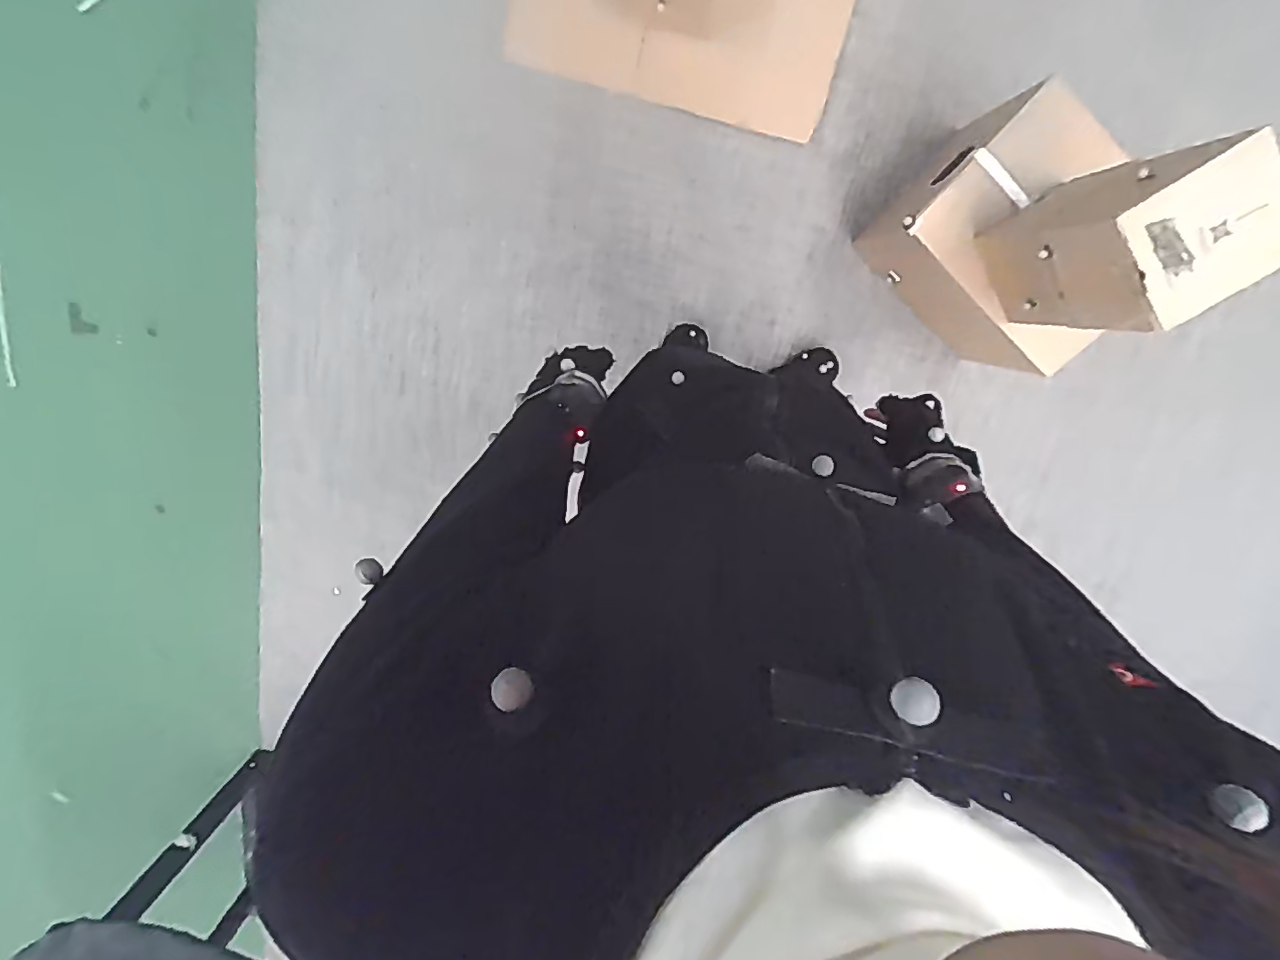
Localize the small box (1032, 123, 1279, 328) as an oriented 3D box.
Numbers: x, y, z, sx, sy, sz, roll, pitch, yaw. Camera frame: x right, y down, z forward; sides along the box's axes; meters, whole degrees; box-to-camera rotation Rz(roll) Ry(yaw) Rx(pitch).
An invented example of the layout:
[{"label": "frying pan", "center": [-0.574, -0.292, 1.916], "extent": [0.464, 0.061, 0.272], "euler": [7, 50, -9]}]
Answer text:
[{"label": "small box", "center": [0.678, -0.325, 0.730], "extent": [0.179, 0.176, 0.168], "euler": [-34, 103, 13]}]

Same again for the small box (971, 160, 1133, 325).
[{"label": "small box", "center": [0.691, -0.376, 0.885], "extent": [0.168, 0.176, 0.179], "euler": [-32, 102, 11]}]
